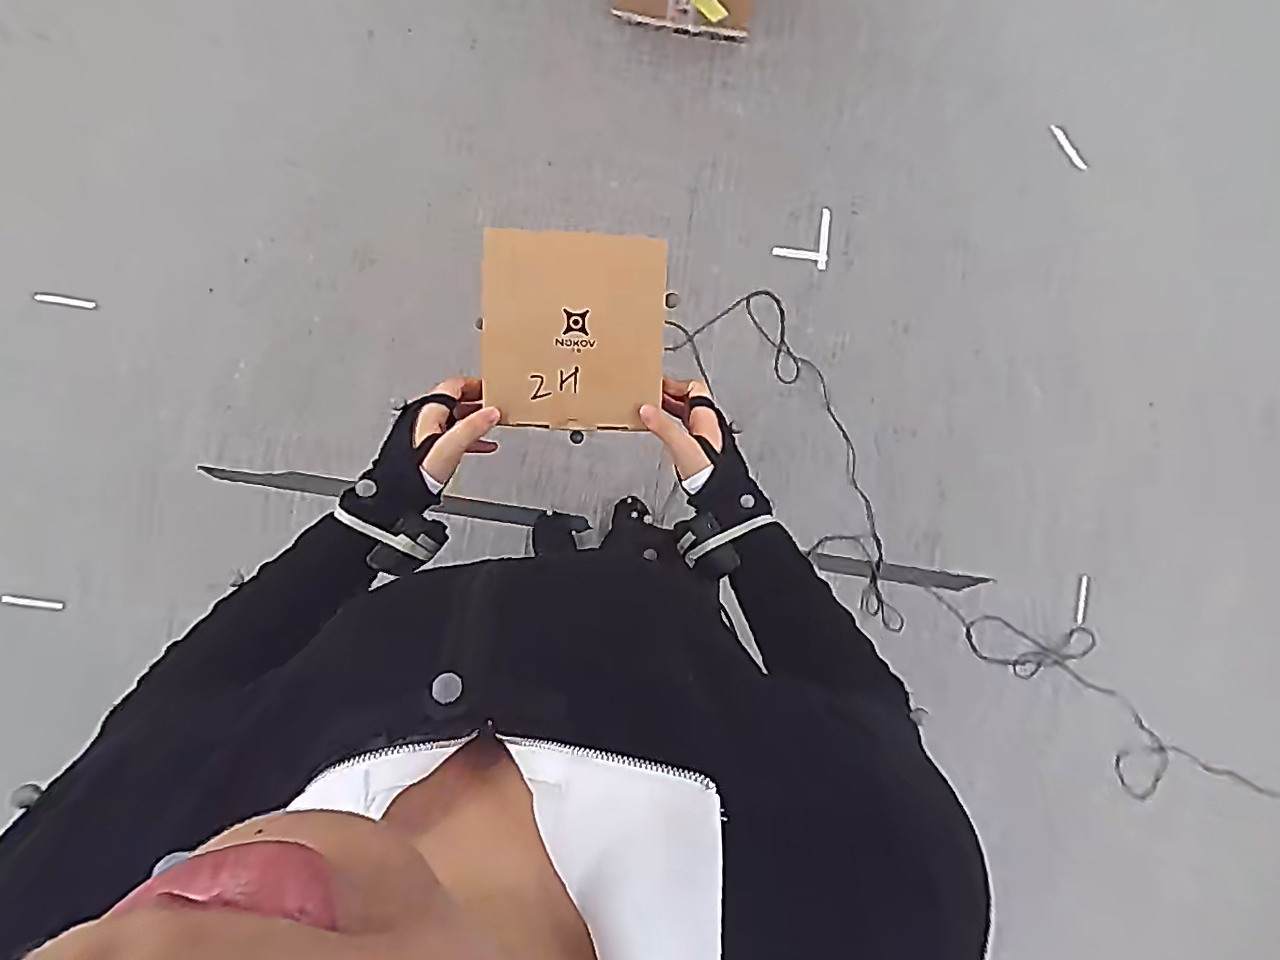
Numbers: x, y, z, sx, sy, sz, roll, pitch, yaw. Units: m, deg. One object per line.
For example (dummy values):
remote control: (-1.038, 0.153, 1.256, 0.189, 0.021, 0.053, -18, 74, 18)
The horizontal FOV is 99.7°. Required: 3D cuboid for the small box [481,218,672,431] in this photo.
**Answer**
small box: (-0.063, -0.145, 0.566, 0.168, 0.176, 0.179, 3, 94, -4)
